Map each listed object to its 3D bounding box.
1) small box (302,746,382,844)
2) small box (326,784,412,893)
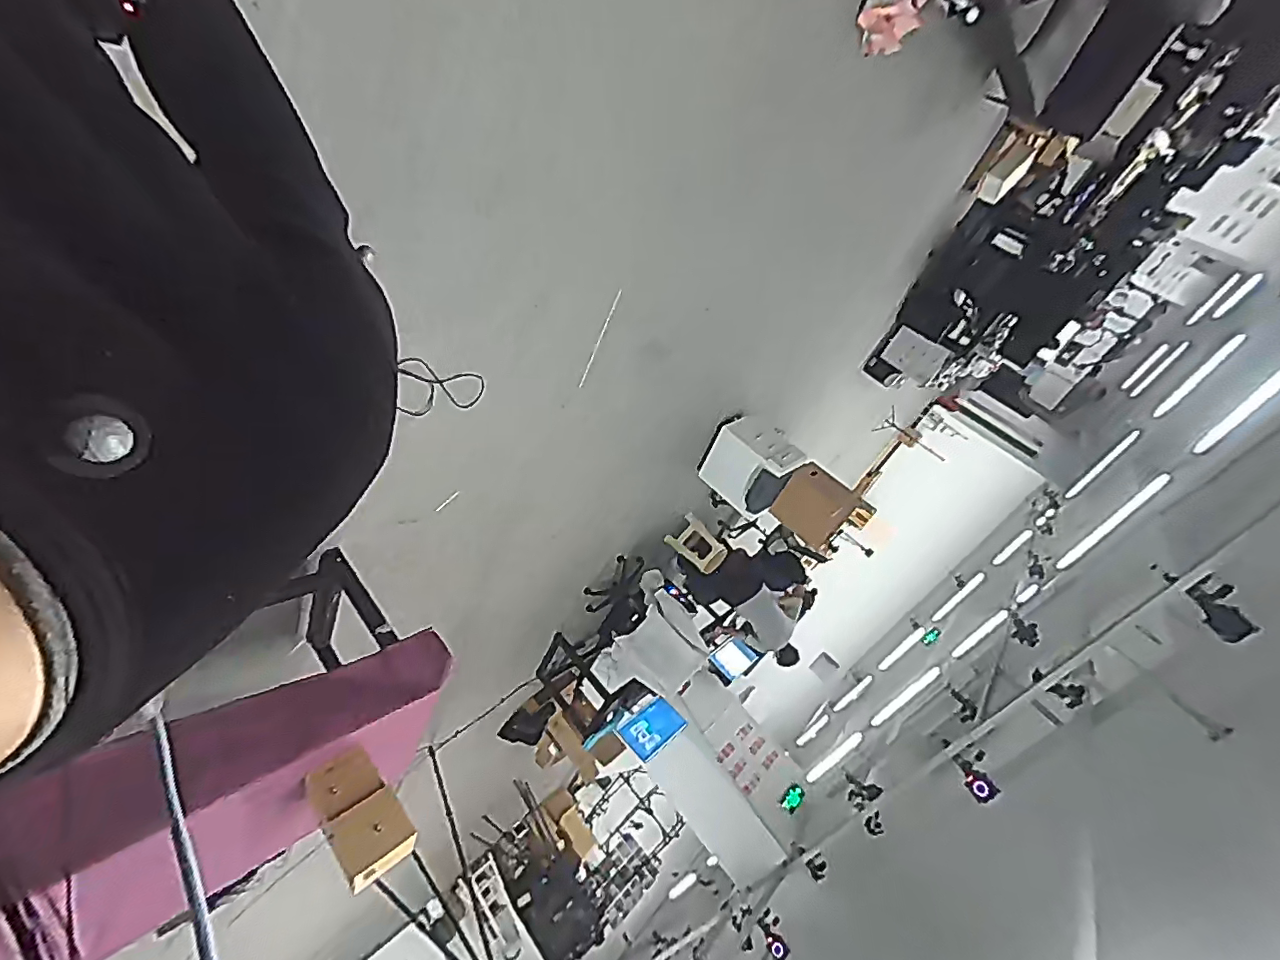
[{"bbox_3d":[-0.908,0.947,1.642,0.168,0.176,0.179,-20,146,-44],"label":"small box"},{"bbox_3d":[-0.788,1.032,1.564,0.179,0.176,0.168,-21,146,-44],"label":"small box"}]
